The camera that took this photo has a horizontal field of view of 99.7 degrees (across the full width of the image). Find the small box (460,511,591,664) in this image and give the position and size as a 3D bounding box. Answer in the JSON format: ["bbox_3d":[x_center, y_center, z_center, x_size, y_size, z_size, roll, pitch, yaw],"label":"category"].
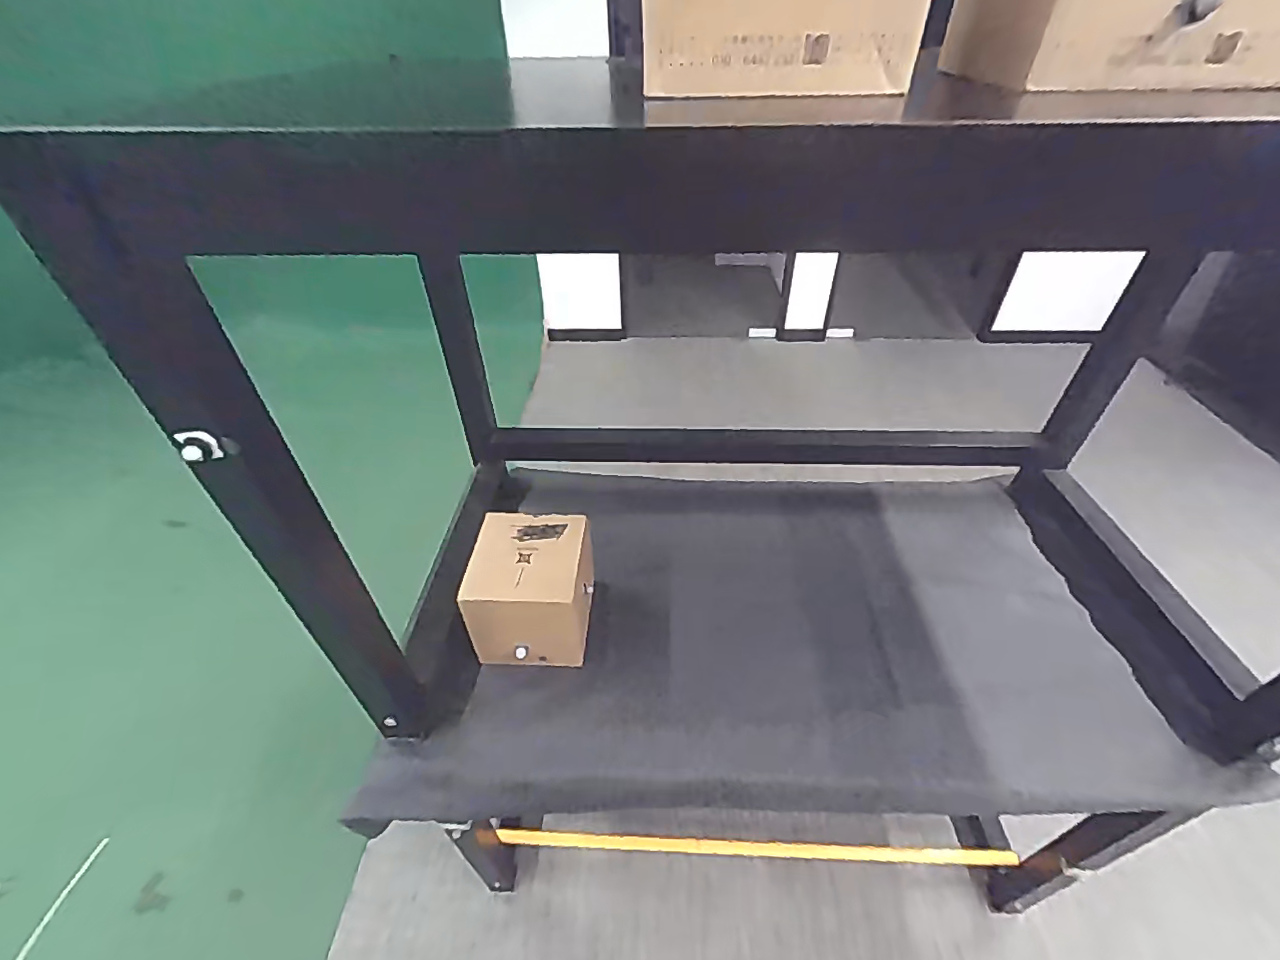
[{"bbox_3d":[-0.171,0.171,0.873,0.168,0.176,0.179,1,41,2],"label":"small box"}]

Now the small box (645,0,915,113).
[{"bbox_3d":[0.088,-0.358,0.368,0.168,0.176,0.179,1,40,3],"label":"small box"}]
